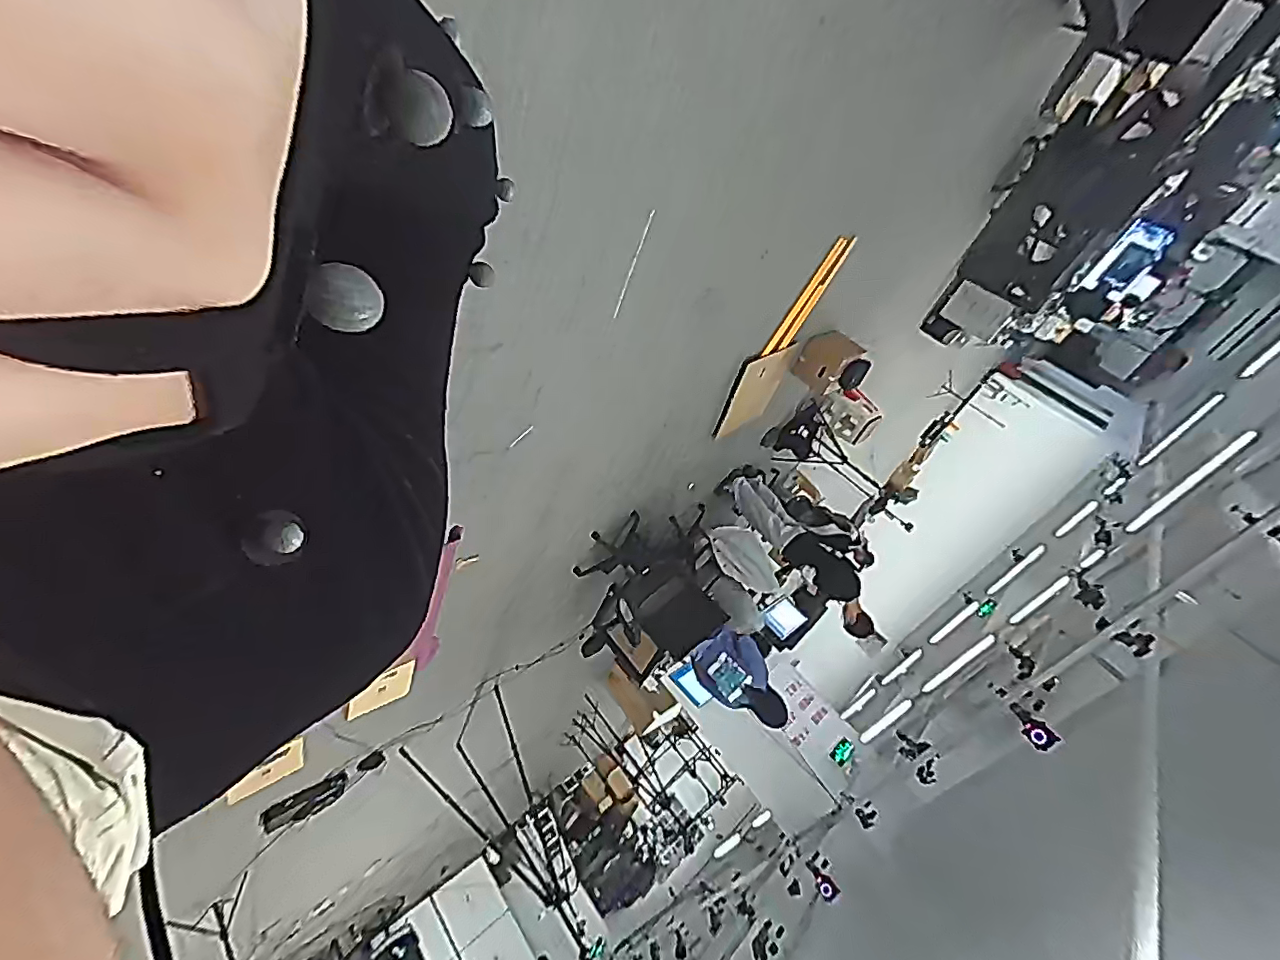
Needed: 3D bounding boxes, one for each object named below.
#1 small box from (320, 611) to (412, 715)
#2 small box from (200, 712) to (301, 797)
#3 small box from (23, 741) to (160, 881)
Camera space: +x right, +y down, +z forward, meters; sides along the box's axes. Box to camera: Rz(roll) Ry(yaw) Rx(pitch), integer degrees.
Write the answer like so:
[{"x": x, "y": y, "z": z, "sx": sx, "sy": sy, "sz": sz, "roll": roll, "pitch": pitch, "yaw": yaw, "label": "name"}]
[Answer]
[{"x": -0.750, "y": 0.493, "z": 1.473, "sx": 0.168, "sy": 0.176, "sz": 0.179, "roll": -19, "pitch": 145, "yaw": -46, "label": "small box"}, {"x": -0.980, "y": 0.645, "z": 1.364, "sx": 0.168, "sy": 0.176, "sz": 0.179, "roll": -18, "pitch": 145, "yaw": -44, "label": "small box"}, {"x": -1.173, "y": 0.704, "z": 1.163, "sx": 0.168, "sy": 0.176, "sz": 0.179, "roll": -20, "pitch": 145, "yaw": -44, "label": "small box"}]
